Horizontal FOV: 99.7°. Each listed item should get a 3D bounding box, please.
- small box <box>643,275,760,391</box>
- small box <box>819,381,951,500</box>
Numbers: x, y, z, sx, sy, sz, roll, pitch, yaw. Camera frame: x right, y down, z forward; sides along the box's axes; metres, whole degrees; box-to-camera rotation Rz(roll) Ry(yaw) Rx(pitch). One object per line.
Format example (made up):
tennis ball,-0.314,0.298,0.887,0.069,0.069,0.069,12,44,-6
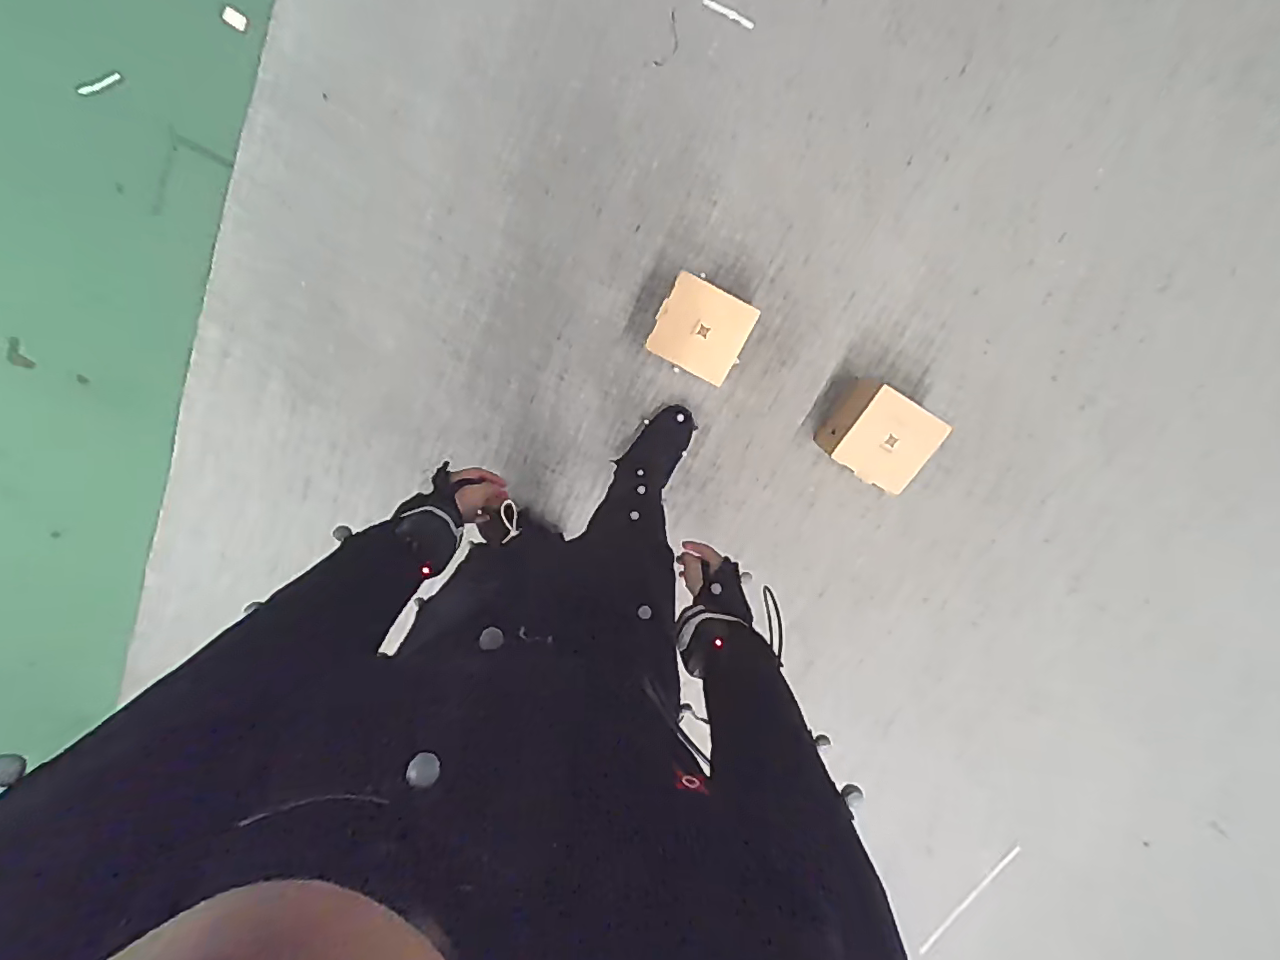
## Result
small box,0.127,-0.306,1.123,0.179,0.176,0.168,27,106,-1
small box,0.499,-0.090,1.141,0.168,0.176,0.179,31,105,-4
